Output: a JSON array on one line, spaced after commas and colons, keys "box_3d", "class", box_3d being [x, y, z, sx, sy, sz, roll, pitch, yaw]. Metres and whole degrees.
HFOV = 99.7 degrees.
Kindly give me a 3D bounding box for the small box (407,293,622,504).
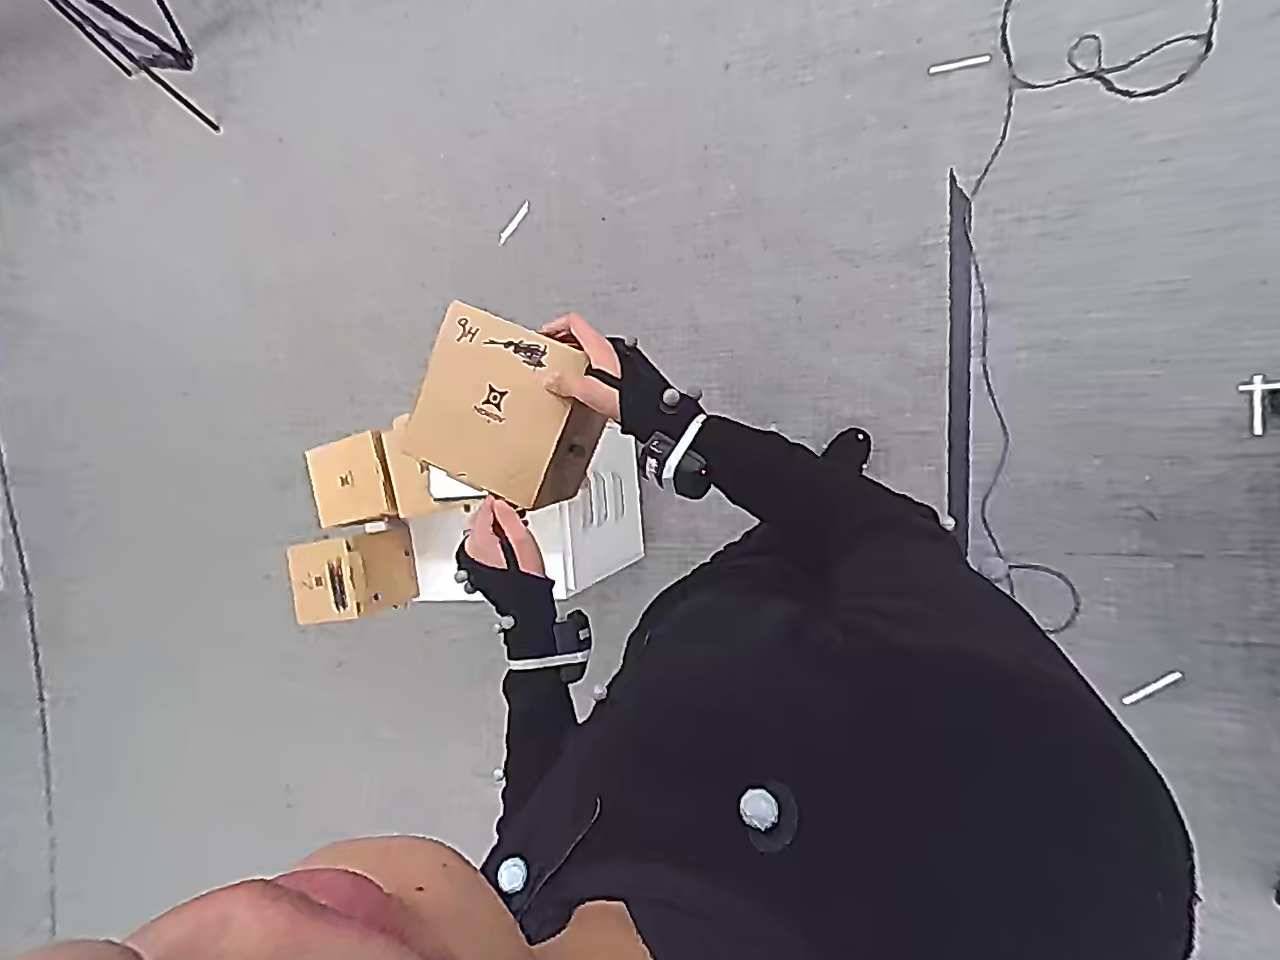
[{"box_3d": [-0.135, -0.091, 0.645, 0.168, 0.176, 0.179, 24, 98, 8], "class": "small box"}]
